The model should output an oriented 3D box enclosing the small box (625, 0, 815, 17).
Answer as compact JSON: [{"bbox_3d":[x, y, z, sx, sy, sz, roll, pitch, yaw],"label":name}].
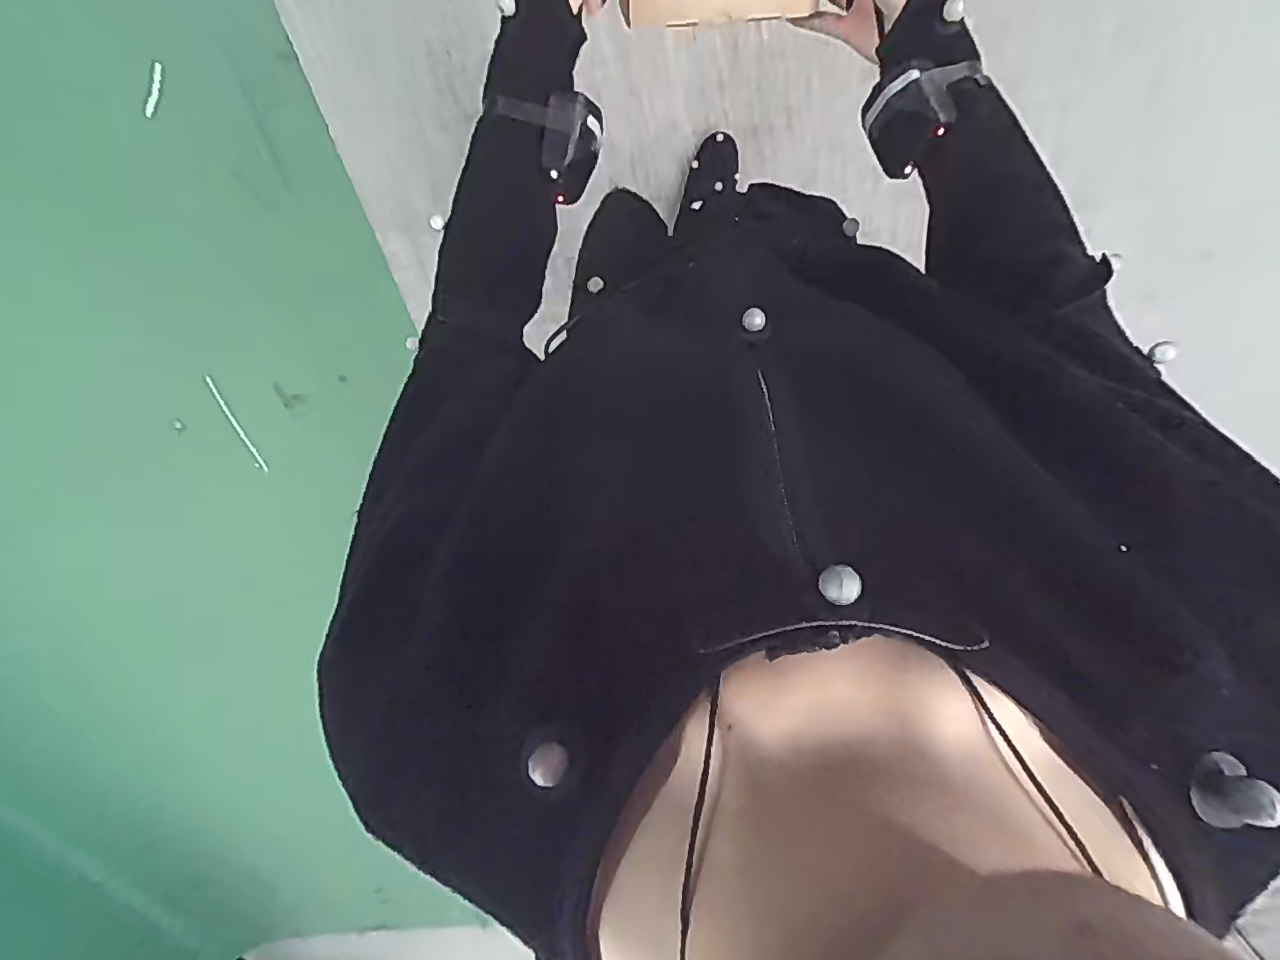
[{"bbox_3d":[0.056,-0.509,0.430,0.168,0.176,0.179,-7,146,-3],"label":"small box"}]
